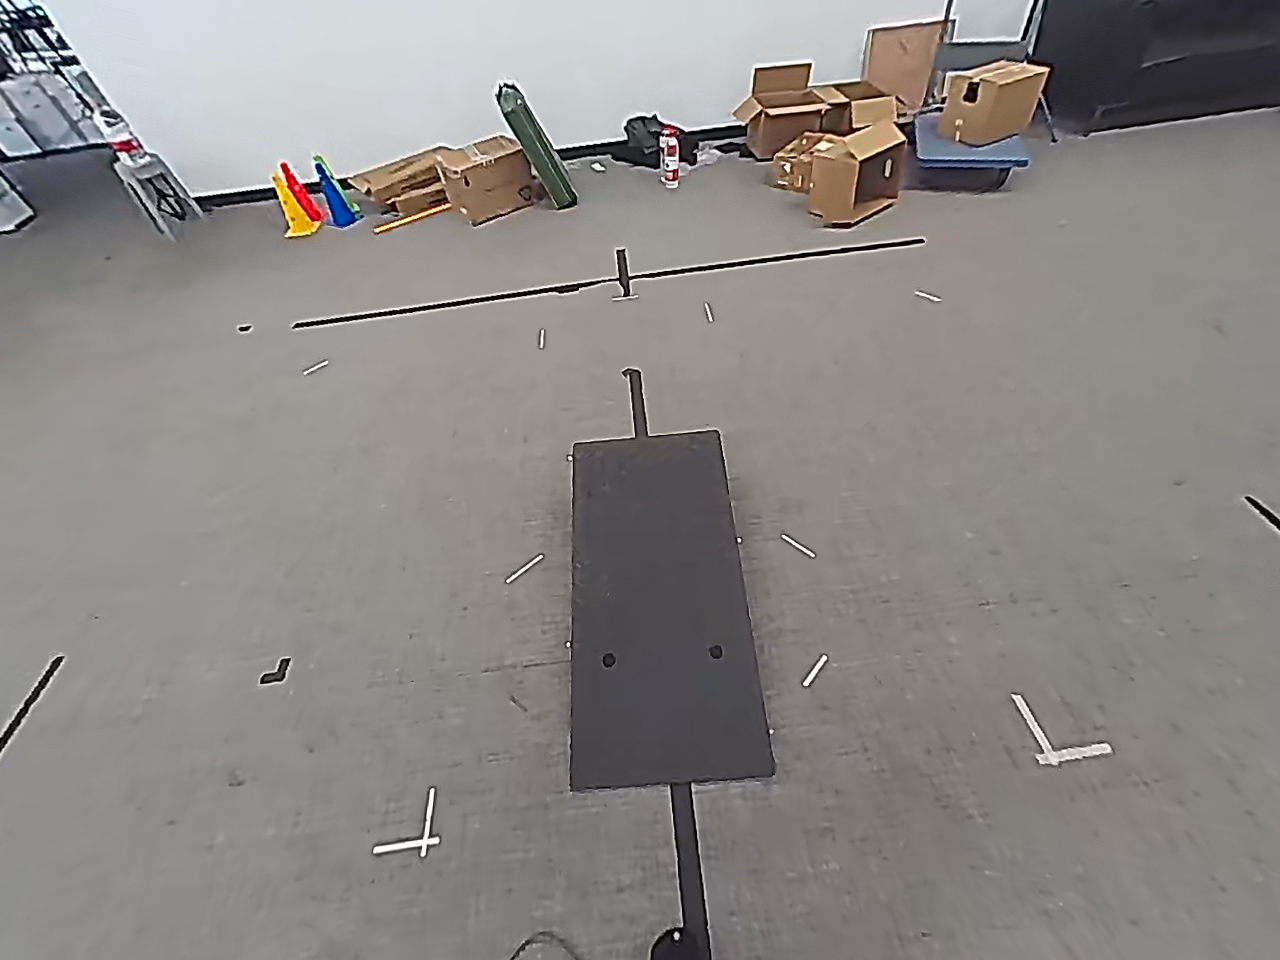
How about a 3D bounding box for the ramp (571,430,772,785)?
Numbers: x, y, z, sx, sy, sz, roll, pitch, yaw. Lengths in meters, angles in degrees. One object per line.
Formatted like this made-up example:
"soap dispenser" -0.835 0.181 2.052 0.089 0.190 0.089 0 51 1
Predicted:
"ramp" 0.047 0.286 1.544 0.509 0.206 0.991 -6 49 0
